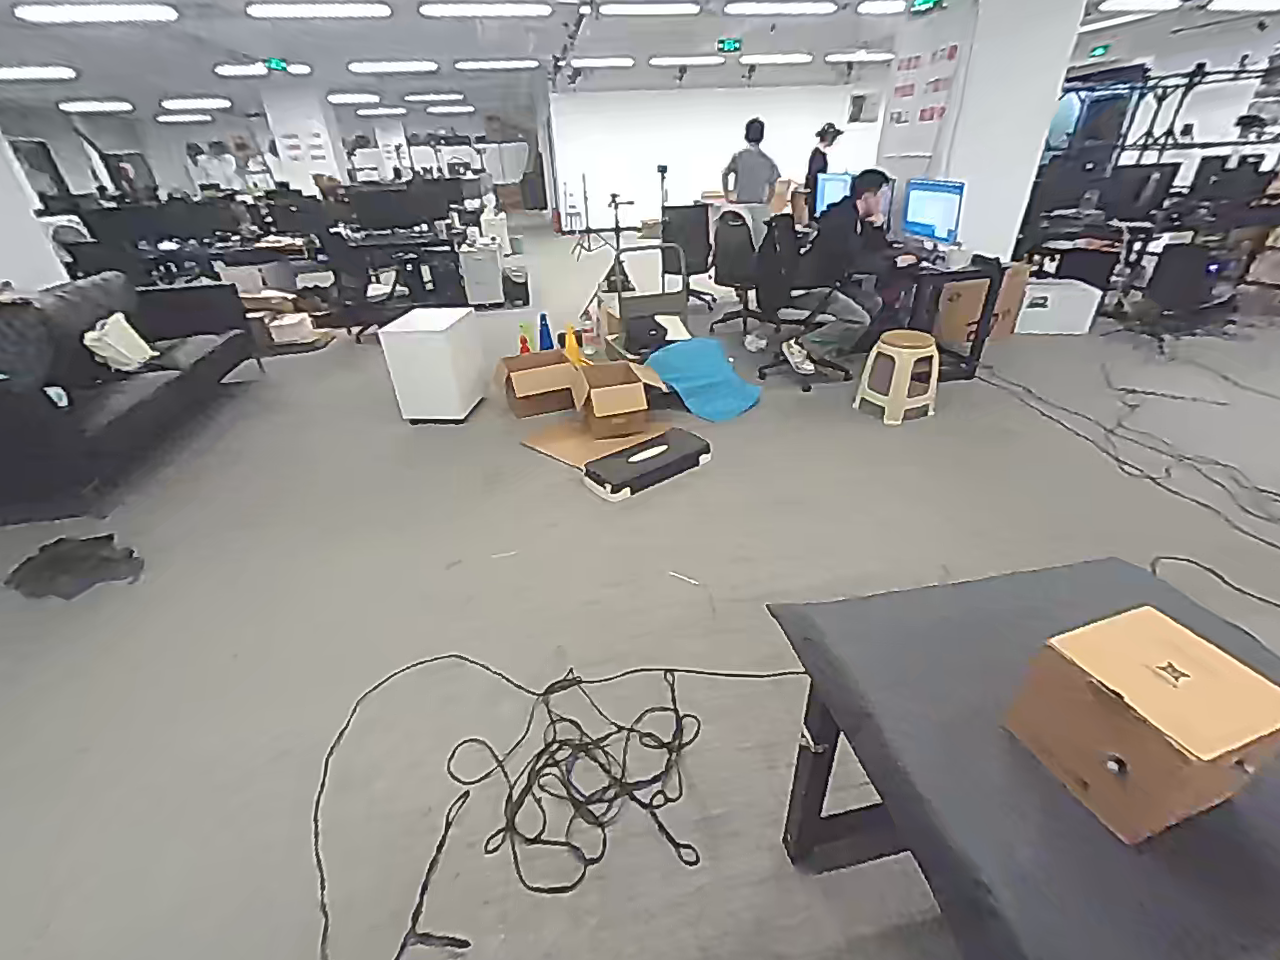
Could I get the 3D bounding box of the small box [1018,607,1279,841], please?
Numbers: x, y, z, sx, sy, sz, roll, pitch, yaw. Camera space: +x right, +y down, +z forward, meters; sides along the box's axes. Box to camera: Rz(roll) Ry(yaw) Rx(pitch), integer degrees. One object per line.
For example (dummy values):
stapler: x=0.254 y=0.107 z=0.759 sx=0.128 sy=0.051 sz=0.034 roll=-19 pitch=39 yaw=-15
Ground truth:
small box: x=0.593 y=0.284 z=0.640 sx=0.179 sy=0.176 sz=0.168 roll=-10 pitch=33 yaw=-15
